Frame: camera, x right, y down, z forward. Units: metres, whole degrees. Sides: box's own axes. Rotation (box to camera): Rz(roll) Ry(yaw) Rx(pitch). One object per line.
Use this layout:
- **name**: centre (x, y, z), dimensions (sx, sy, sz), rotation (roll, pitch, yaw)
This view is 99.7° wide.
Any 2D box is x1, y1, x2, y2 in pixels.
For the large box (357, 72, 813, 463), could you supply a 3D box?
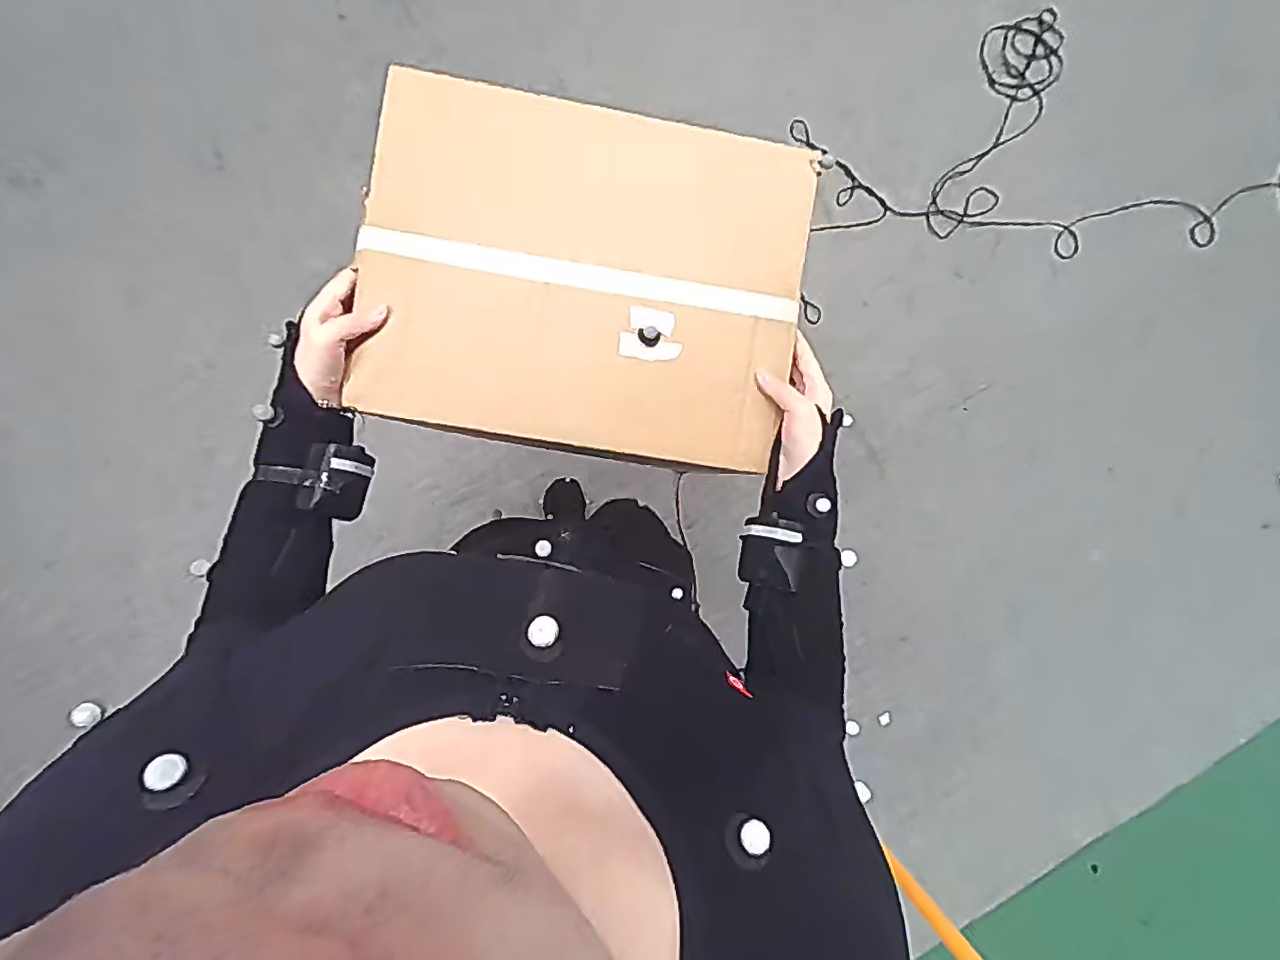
- **large box**: centre (-0.060, -0.200, 0.658), dimensions (0.408, 0.320, 0.320), rotation (8, 91, -5)
